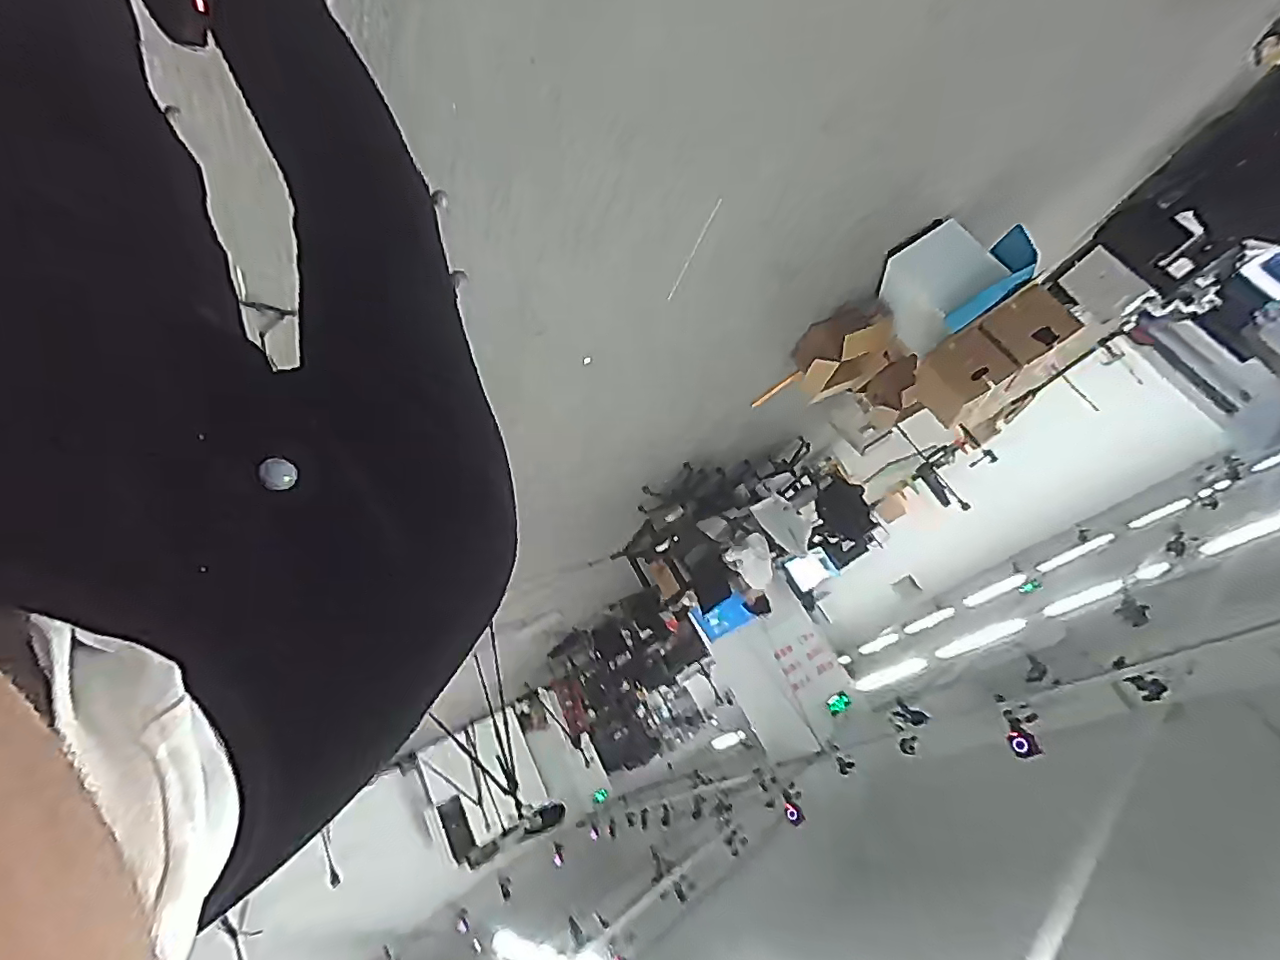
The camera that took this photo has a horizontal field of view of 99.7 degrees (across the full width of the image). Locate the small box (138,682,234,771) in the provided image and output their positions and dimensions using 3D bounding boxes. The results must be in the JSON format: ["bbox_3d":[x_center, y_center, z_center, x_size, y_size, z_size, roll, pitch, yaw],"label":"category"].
[{"bbox_3d":[-1.296,0.701,1.549,0.168,0.176,0.179,-17,156,-33],"label":"small box"}]

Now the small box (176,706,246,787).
[{"bbox_3d":[-1.412,0.865,1.768,0.168,0.176,0.179,-14,153,-38],"label":"small box"}]
